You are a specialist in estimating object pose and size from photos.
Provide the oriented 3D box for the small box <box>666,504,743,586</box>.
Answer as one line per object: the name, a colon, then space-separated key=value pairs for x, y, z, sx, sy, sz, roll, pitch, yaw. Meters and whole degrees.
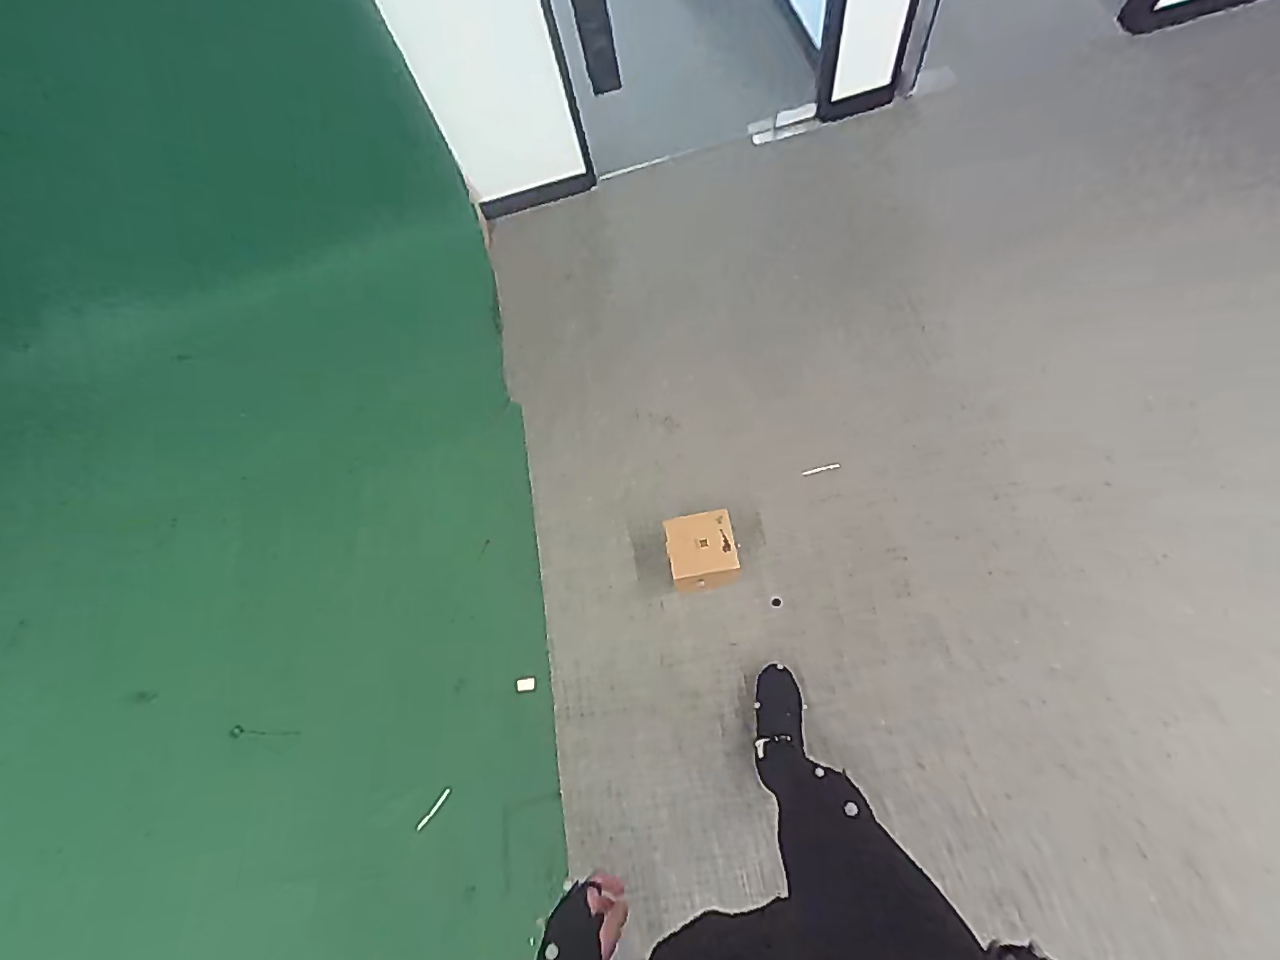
small box: x=0.176 y=0.181 z=1.458 sx=0.179 sy=0.176 sz=0.168 roll=-11 pitch=66 yaw=7
